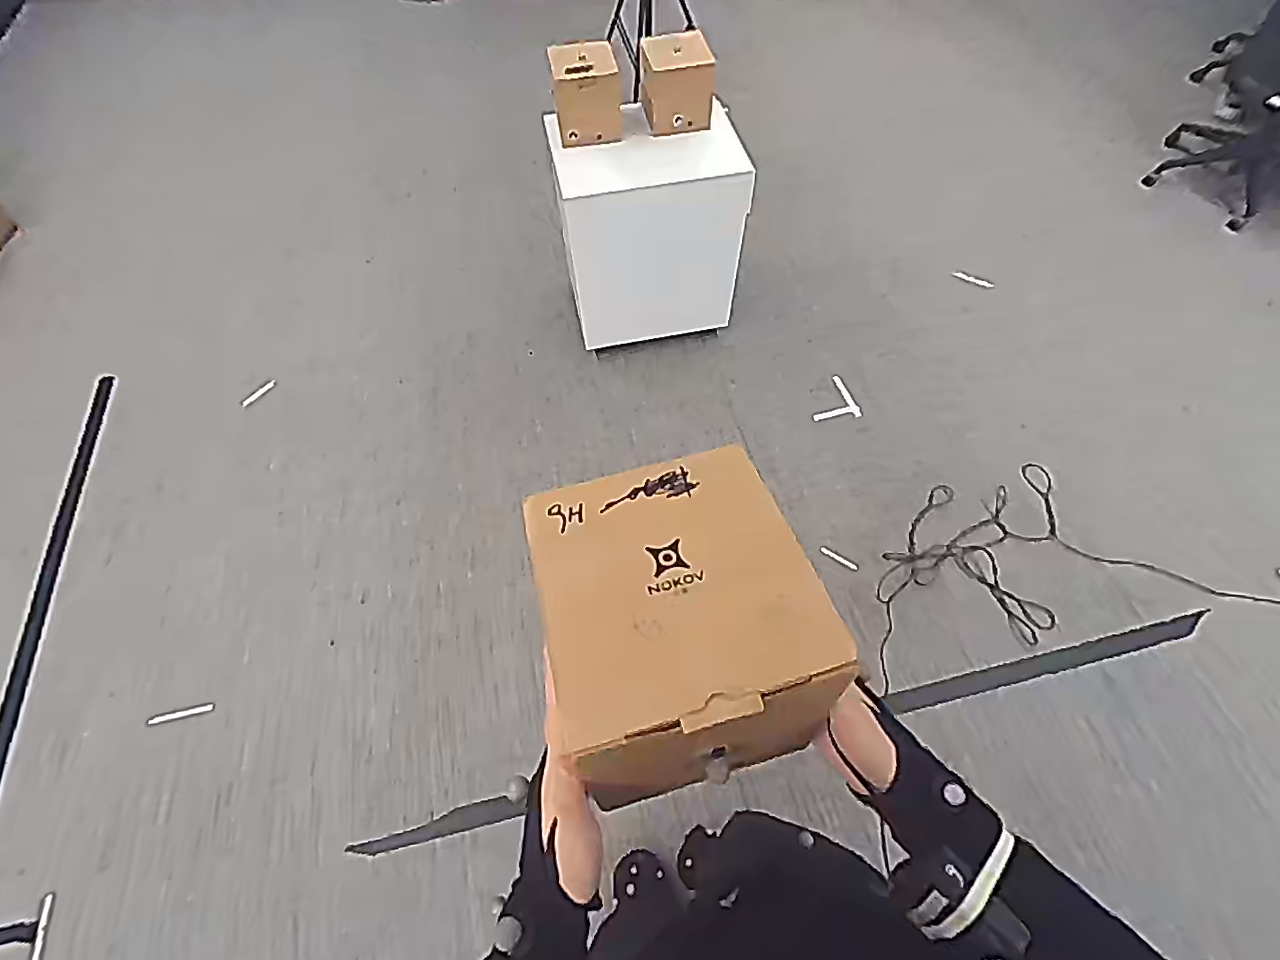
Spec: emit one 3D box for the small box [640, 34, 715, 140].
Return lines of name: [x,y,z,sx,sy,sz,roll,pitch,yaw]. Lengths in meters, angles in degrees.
small box: [0.095,-1.066,1.471,0.168,0.176,0.179,-12,63,-4]

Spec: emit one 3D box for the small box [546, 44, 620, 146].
small box: [-0.150,-1.022,1.449,0.168,0.176,0.179,-10,61,-5]

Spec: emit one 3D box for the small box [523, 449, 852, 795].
small box: [0.023,0.110,0.396,0.168,0.176,0.179,-14,51,-7]
